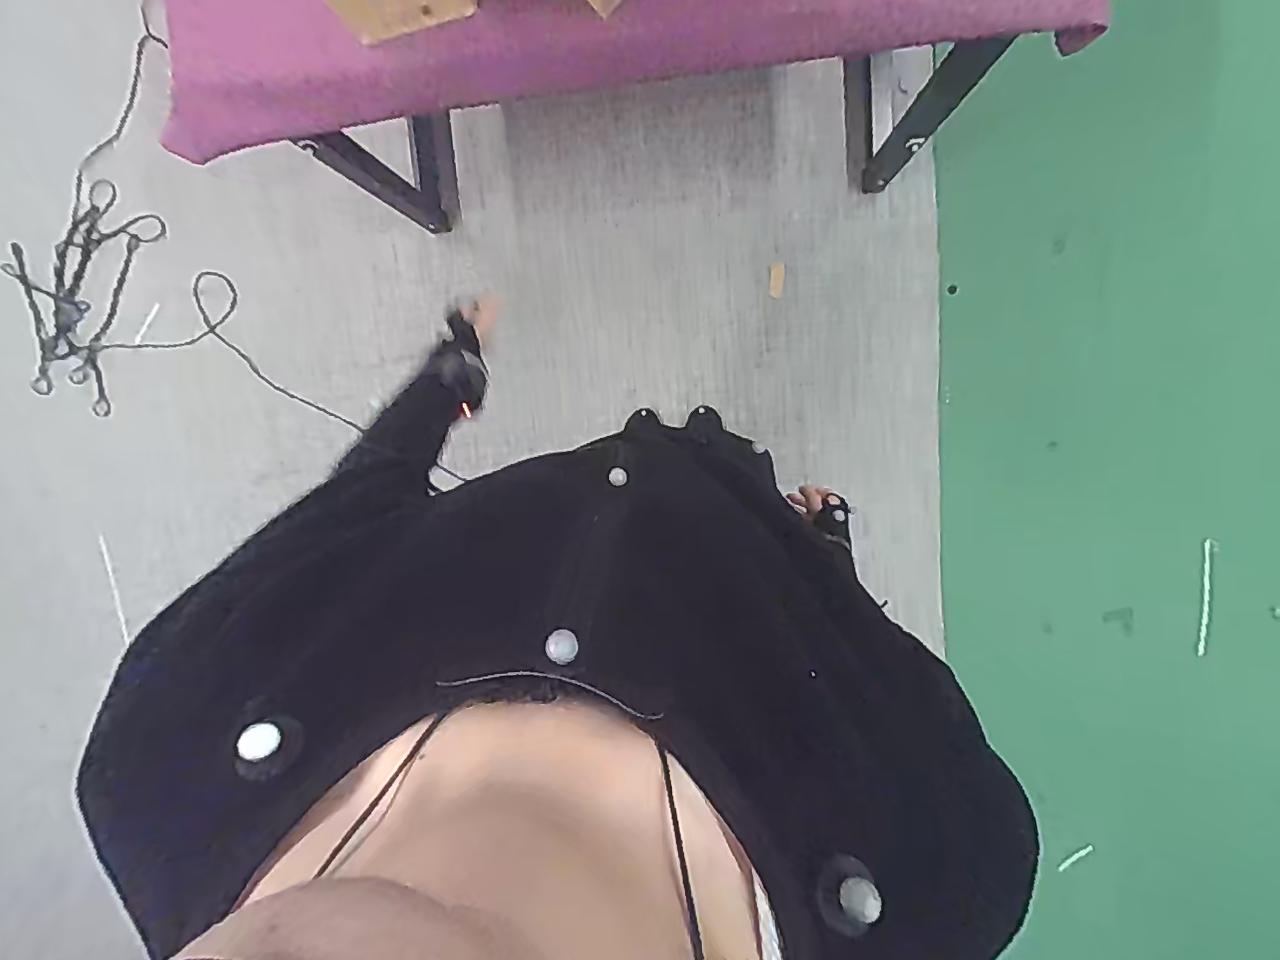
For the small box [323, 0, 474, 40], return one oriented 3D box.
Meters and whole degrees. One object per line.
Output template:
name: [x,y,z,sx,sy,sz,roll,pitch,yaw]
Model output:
small box: [-0.315,-0.665,0.633,0.168,0.176,0.179,-11,95,6]
